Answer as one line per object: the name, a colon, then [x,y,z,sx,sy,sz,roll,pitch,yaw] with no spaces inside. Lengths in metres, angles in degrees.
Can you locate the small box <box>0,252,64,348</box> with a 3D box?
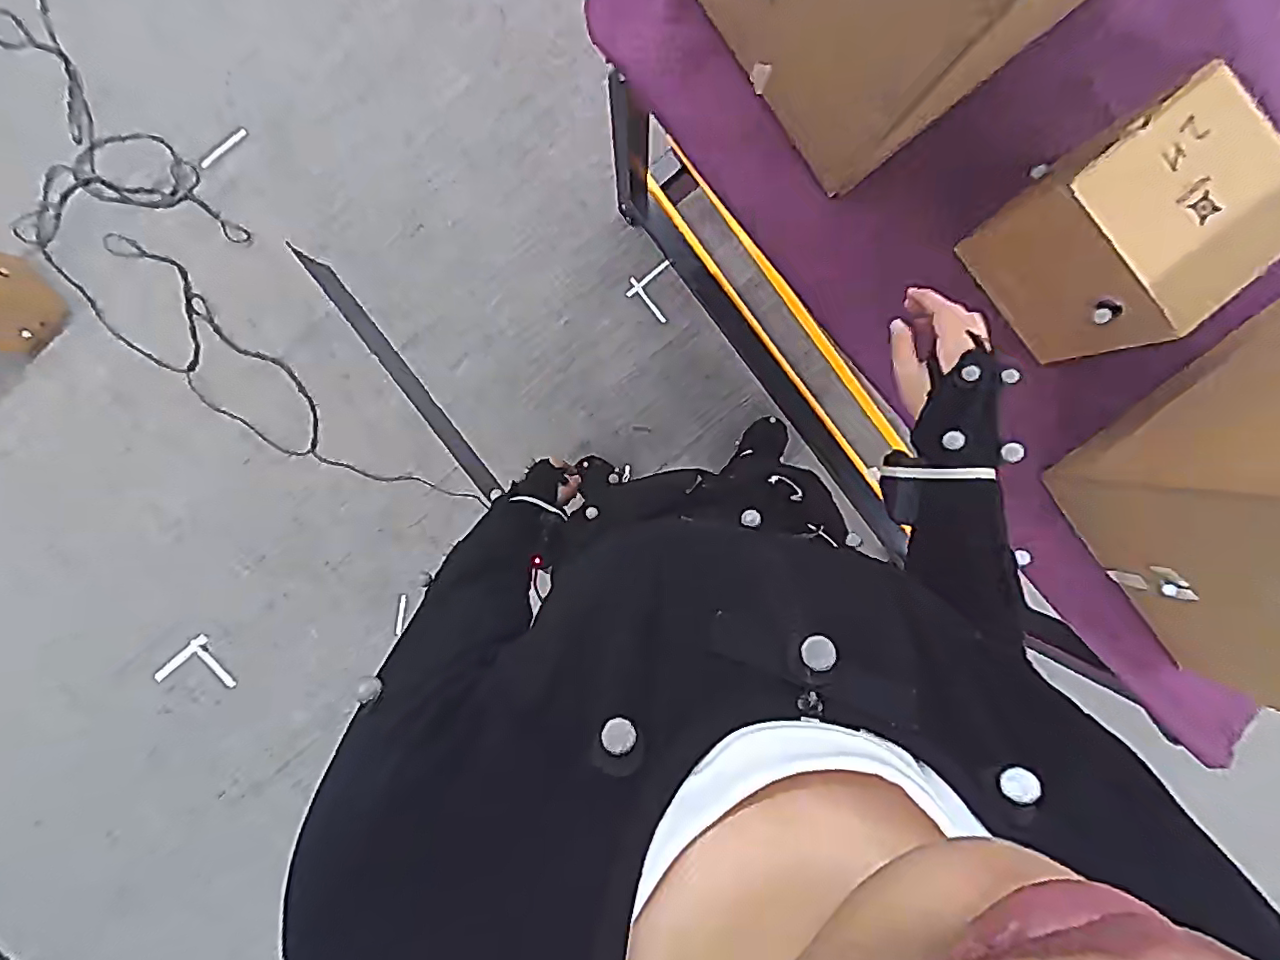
small box: [-1.516,-0.425,1.238,0.168,0.176,0.179,-42,94,4]

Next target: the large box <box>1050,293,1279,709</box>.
large box: [0.724,0.004,0.495,0.408,0.320,0.320,-38,94,1]
